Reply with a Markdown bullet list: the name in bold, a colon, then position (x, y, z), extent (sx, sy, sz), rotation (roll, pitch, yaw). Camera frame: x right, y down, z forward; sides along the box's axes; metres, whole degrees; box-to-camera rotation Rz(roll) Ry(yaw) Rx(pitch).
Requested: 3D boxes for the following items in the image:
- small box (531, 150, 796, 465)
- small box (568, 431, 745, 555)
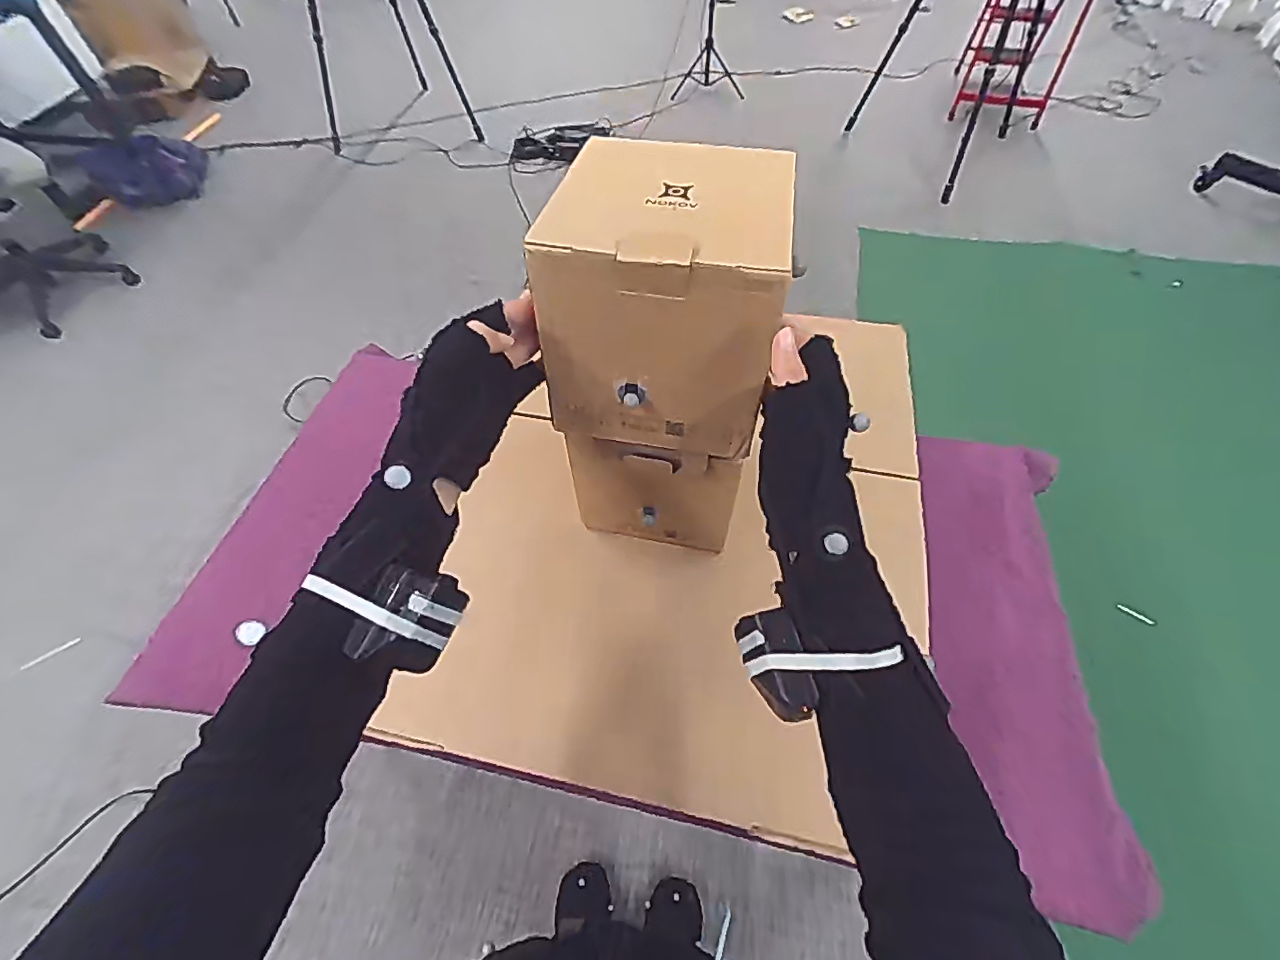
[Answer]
- **small box**: position (0.025, -0.140, 0.443), extent (0.168, 0.176, 0.179), rotation (9, 52, 7)
- **small box**: position (0.031, -0.043, 0.597), extent (0.168, 0.176, 0.179), rotation (10, 56, 9)
